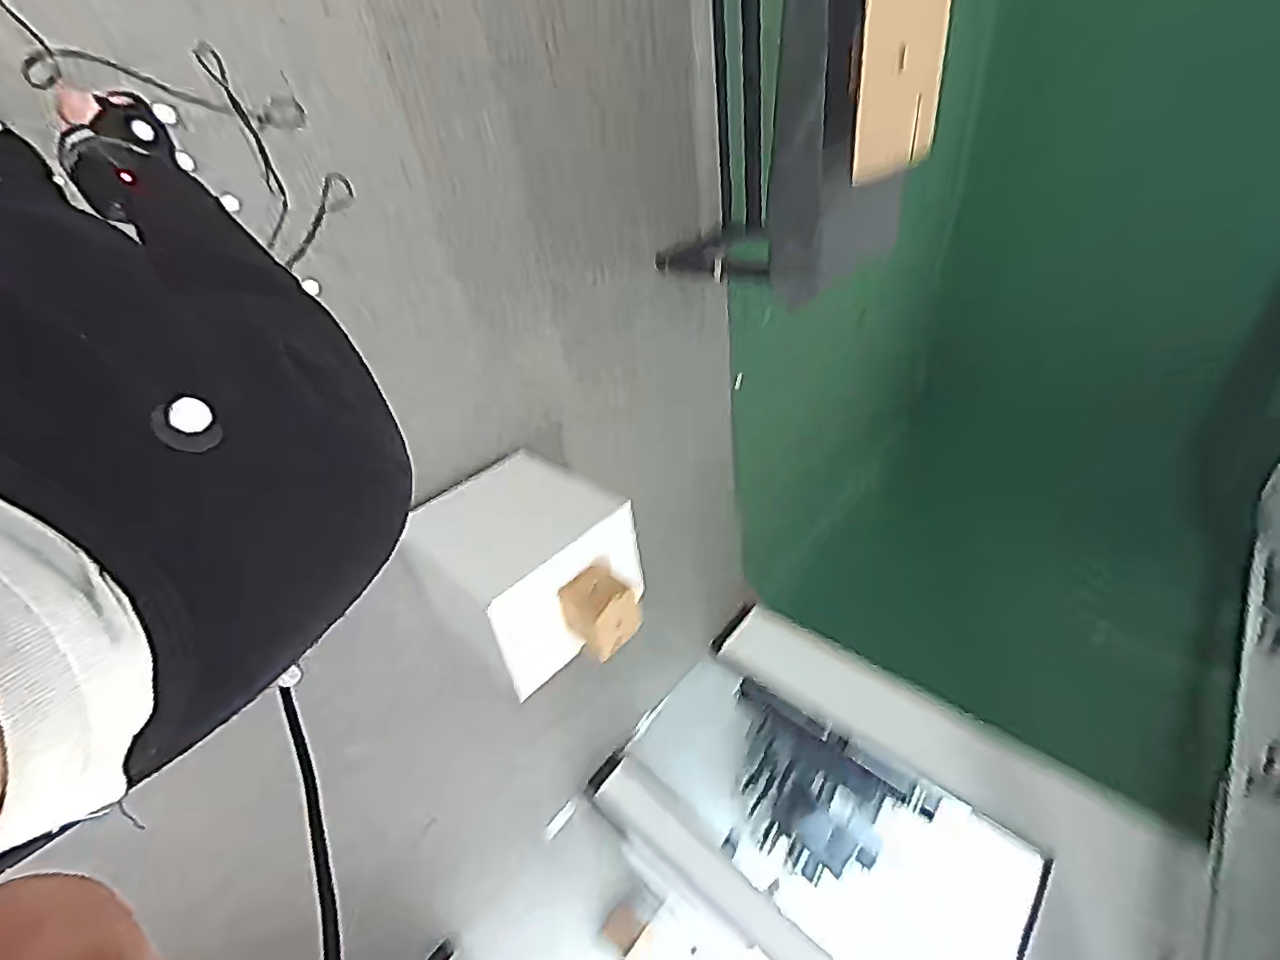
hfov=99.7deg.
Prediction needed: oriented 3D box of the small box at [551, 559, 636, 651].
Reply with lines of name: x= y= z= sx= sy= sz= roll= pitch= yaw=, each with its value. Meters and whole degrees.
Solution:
small box: x=-0.137 y=0.352 z=1.569 sx=0.168 sy=0.176 sz=0.179 roll=-39 pitch=136 yaw=-33
